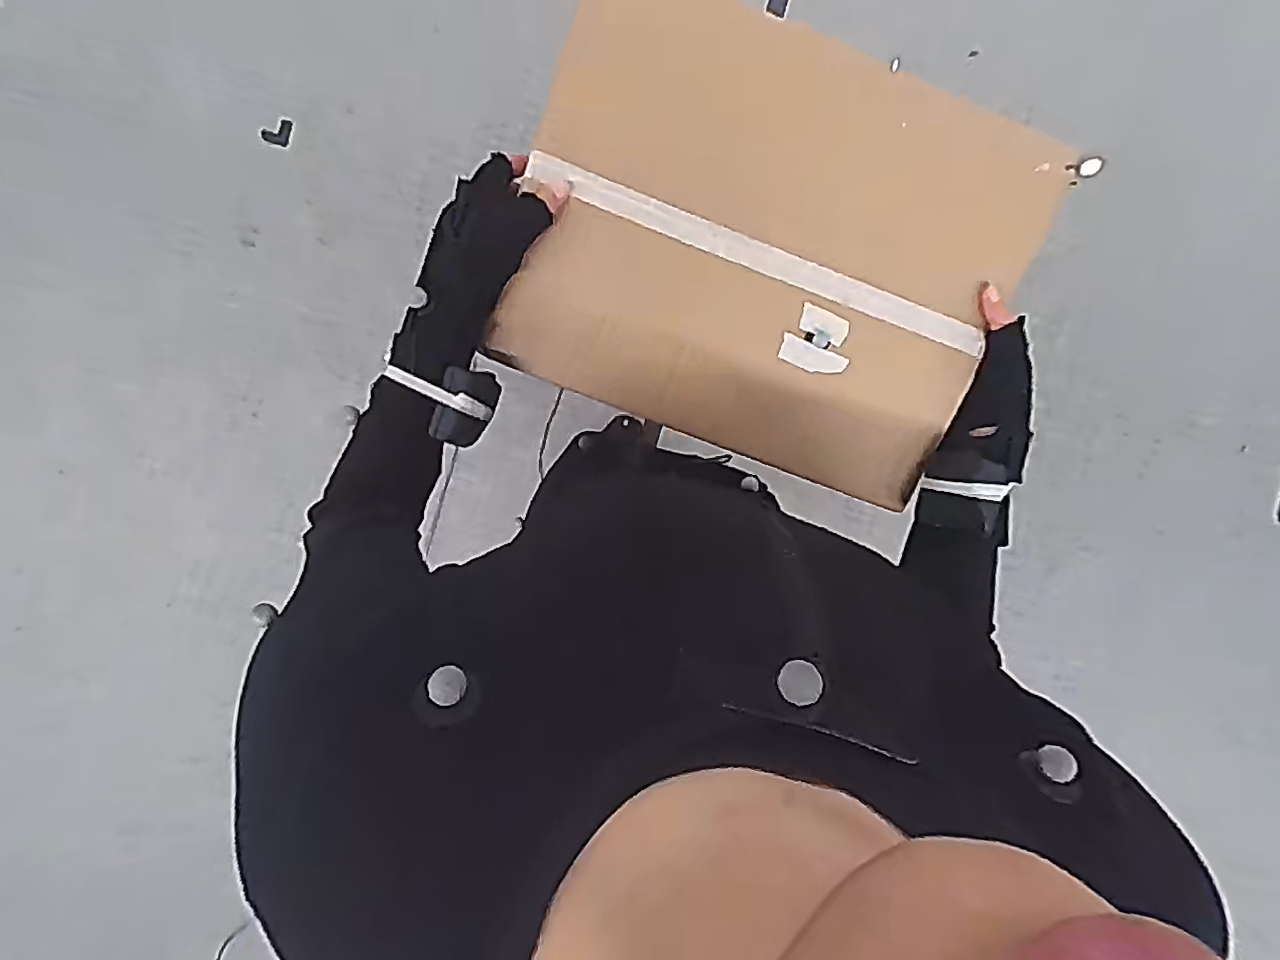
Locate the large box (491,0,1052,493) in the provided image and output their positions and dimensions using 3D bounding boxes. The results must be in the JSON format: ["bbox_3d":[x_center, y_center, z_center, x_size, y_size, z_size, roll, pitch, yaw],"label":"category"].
[{"bbox_3d":[0.101,-0.225,0.604,0.408,0.320,0.320,20,105,-5],"label":"large box"}]
